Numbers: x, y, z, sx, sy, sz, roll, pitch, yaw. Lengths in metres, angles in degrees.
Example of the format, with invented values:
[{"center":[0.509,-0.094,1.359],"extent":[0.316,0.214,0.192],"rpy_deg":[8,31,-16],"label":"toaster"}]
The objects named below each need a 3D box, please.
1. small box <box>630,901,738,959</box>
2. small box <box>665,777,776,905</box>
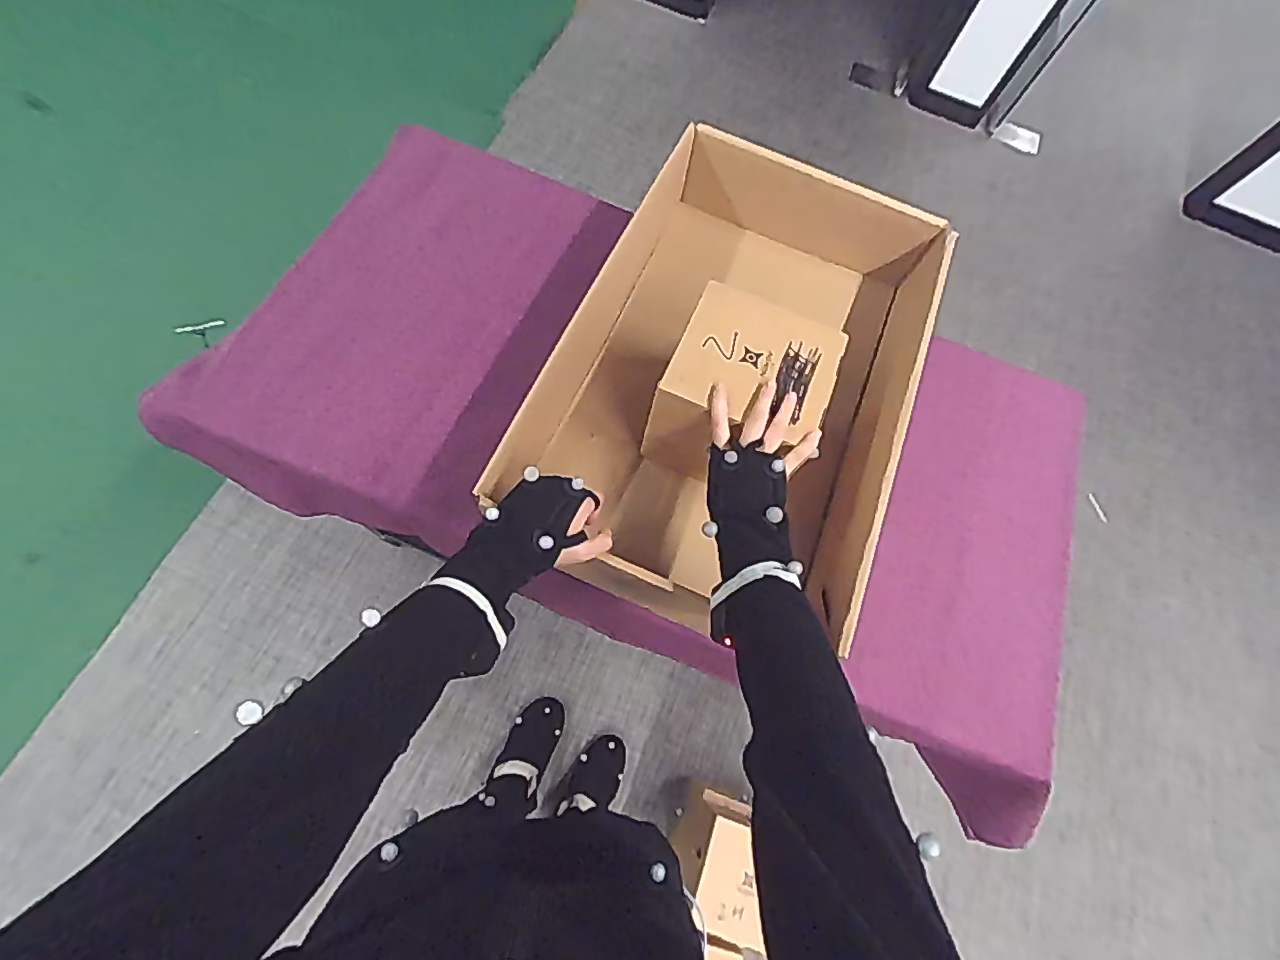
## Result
[{"center":[0.077,0.993,1.096],"extent":[0.179,0.176,0.168],"rpy_deg":[19,68,-1],"label":"small box"},{"center":[0.170,0.777,1.185],"extent":[0.179,0.176,0.168],"rpy_deg":[22,69,2],"label":"small box"}]
